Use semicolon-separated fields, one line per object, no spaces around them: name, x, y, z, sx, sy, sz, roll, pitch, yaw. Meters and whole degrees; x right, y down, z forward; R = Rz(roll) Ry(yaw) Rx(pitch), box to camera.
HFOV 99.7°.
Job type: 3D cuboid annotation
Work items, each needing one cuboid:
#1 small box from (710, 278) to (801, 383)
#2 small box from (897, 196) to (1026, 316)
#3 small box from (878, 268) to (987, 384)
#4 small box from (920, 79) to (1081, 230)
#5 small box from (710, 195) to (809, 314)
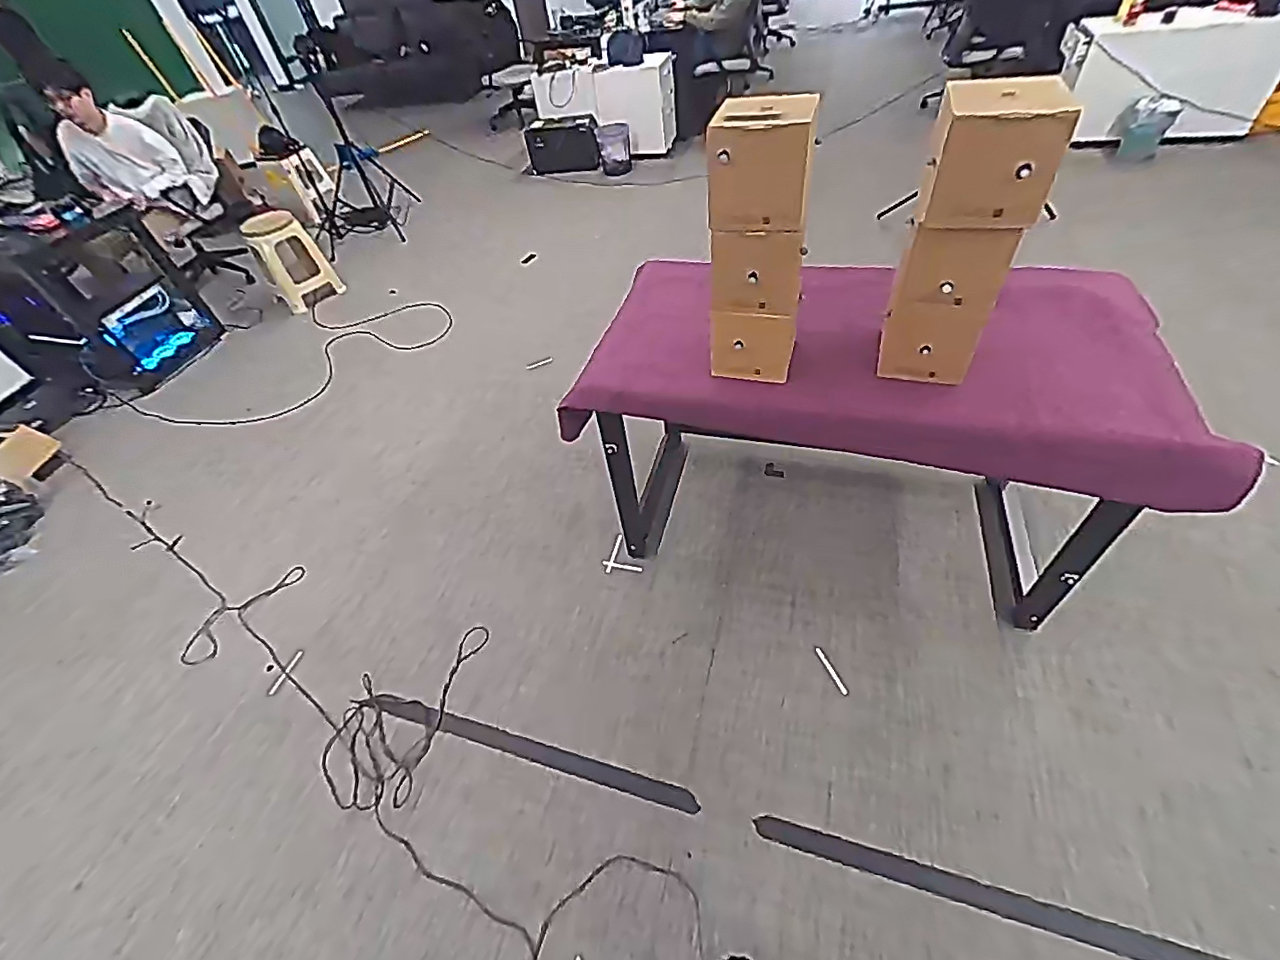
small box;0.258;-0.336;1.204;0.168;0.176;0.179;9;49;16
small box;0.592;-0.434;1.016;0.168;0.176;0.179;10;51;18
small box;0.607;-0.322;1.136;0.168;0.176;0.179;11;50;18
small box;0.569;-0.525;0.882;0.168;0.176;0.179;9;50;15
small box;0.240;-0.451;1.088;0.168;0.176;0.179;8;49;15
